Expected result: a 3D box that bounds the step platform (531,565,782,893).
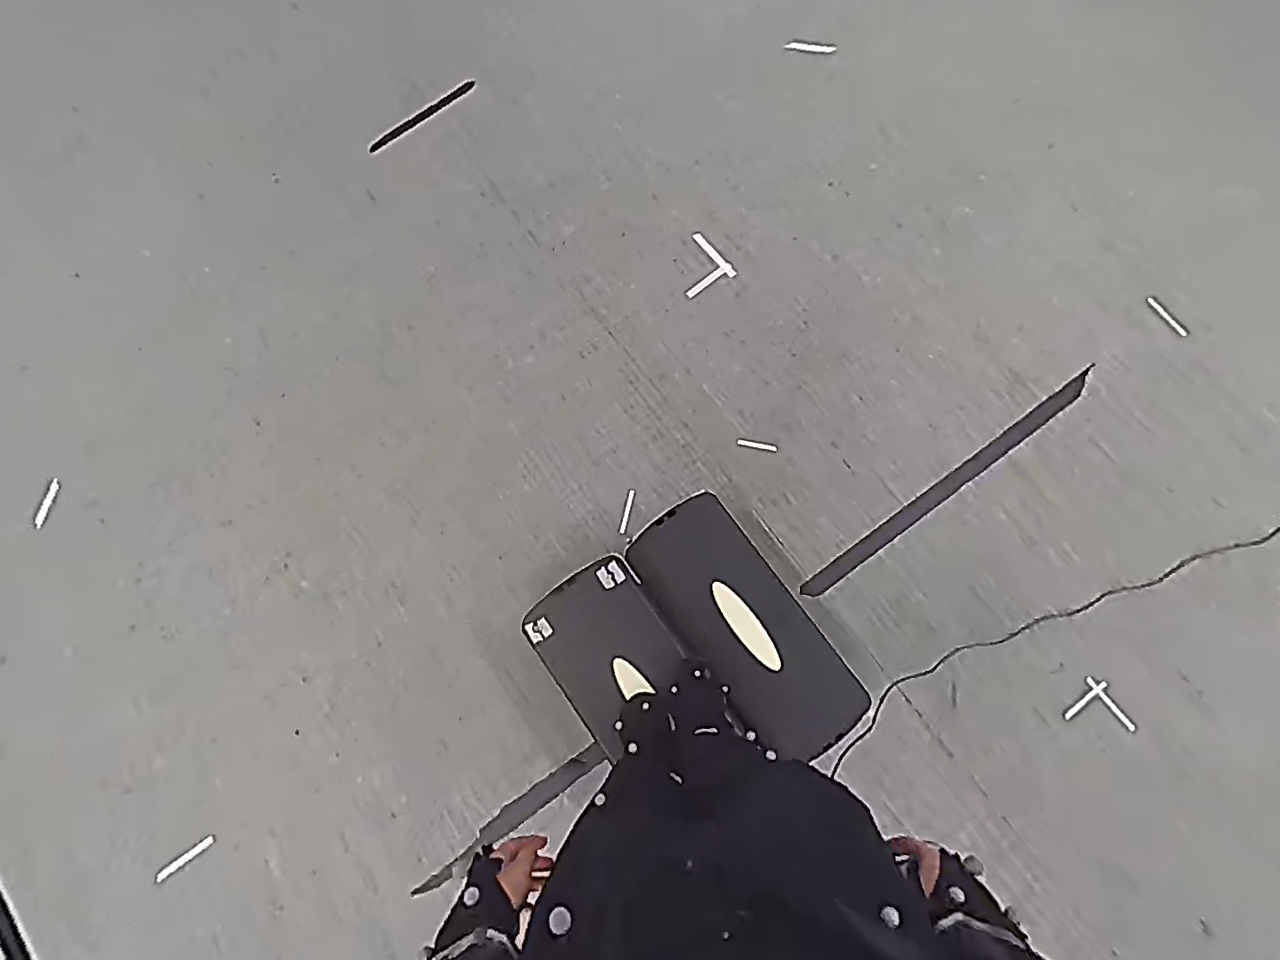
[{"bbox_3d":[0.026,0.540,1.254,0.286,0.204,0.684,-32,77,-6],"label":"step platform"}]
